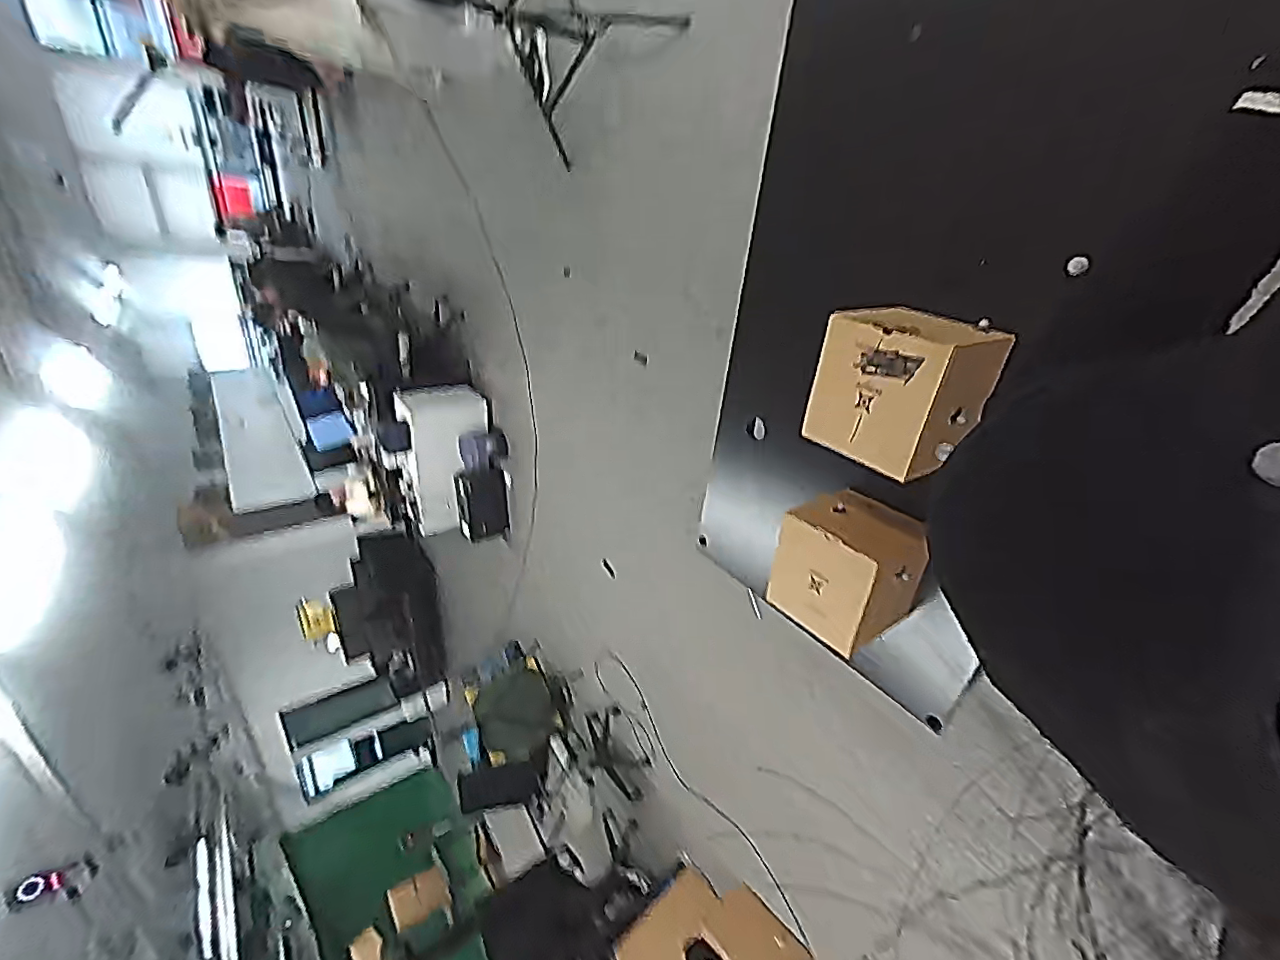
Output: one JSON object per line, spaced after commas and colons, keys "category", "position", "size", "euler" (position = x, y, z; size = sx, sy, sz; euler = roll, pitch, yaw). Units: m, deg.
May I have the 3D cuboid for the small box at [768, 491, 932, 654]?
{"category": "small box", "position": [0.337, 0.136, 0.871], "size": [0.168, 0.176, 0.179], "euler": [34, 129, 46]}

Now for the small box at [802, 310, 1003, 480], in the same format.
{"category": "small box", "position": [0.356, -0.127, 0.739], "size": [0.168, 0.176, 0.179], "euler": [37, 132, 43]}
